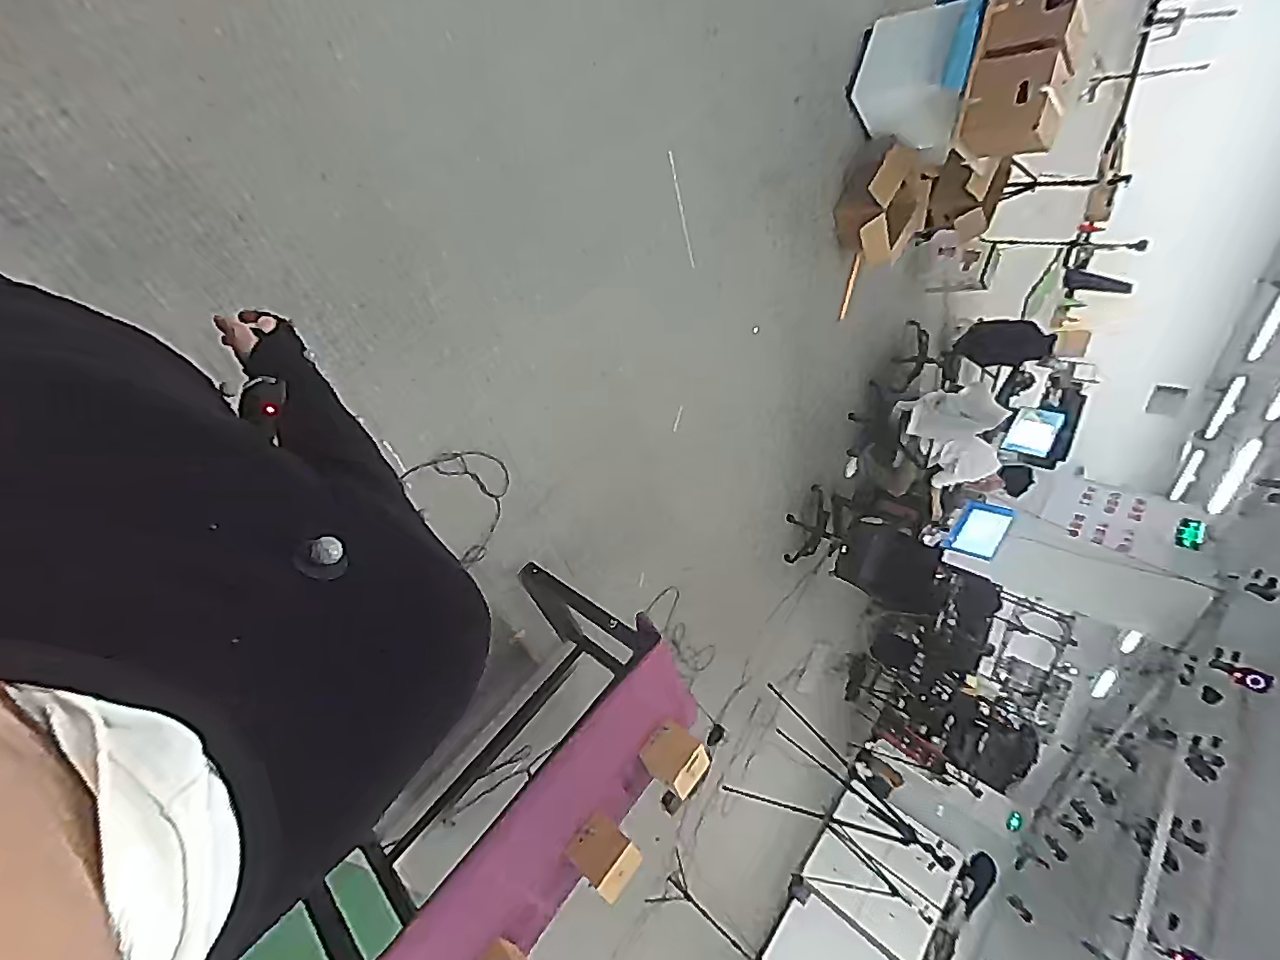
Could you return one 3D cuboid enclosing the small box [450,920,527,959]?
[{"bbox_3d":[-0.454,1.482,1.633,0.168,0.176,0.179,-44,138,-28],"label":"small box"}]

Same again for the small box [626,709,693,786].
[{"bbox_3d":[0.071,0.982,2.003,0.168,0.176,0.179,-43,137,-27],"label":"small box"}]

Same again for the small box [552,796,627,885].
[{"bbox_3d":[-0.172,1.222,1.841,0.168,0.176,0.179,-43,136,-29],"label":"small box"}]
